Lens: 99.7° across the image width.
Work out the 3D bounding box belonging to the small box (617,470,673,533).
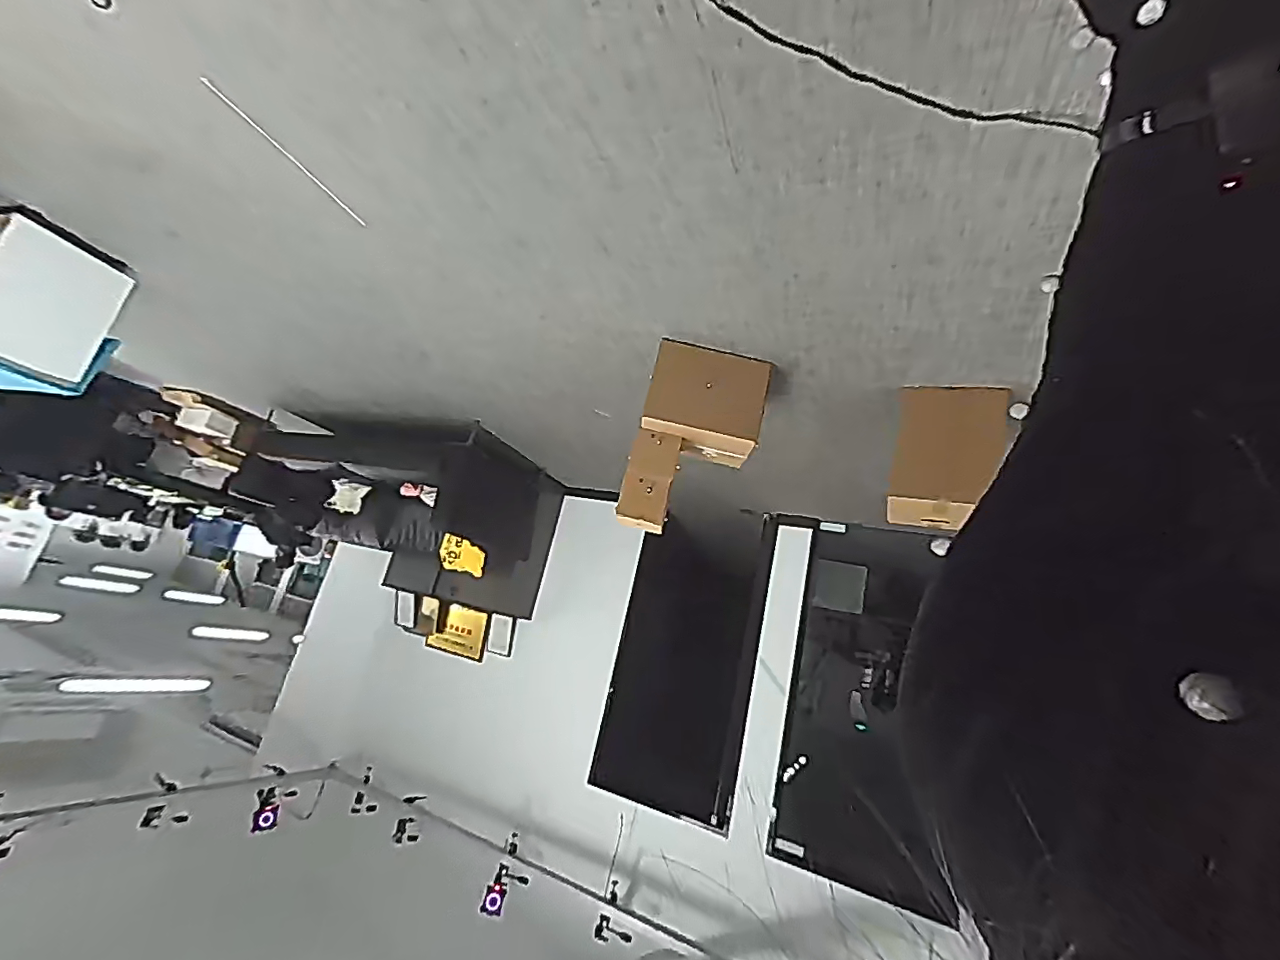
[{"bbox_3d":[0.022,0.079,1.939,0.168,0.176,0.179,12,164,6],"label":"small box"}]
